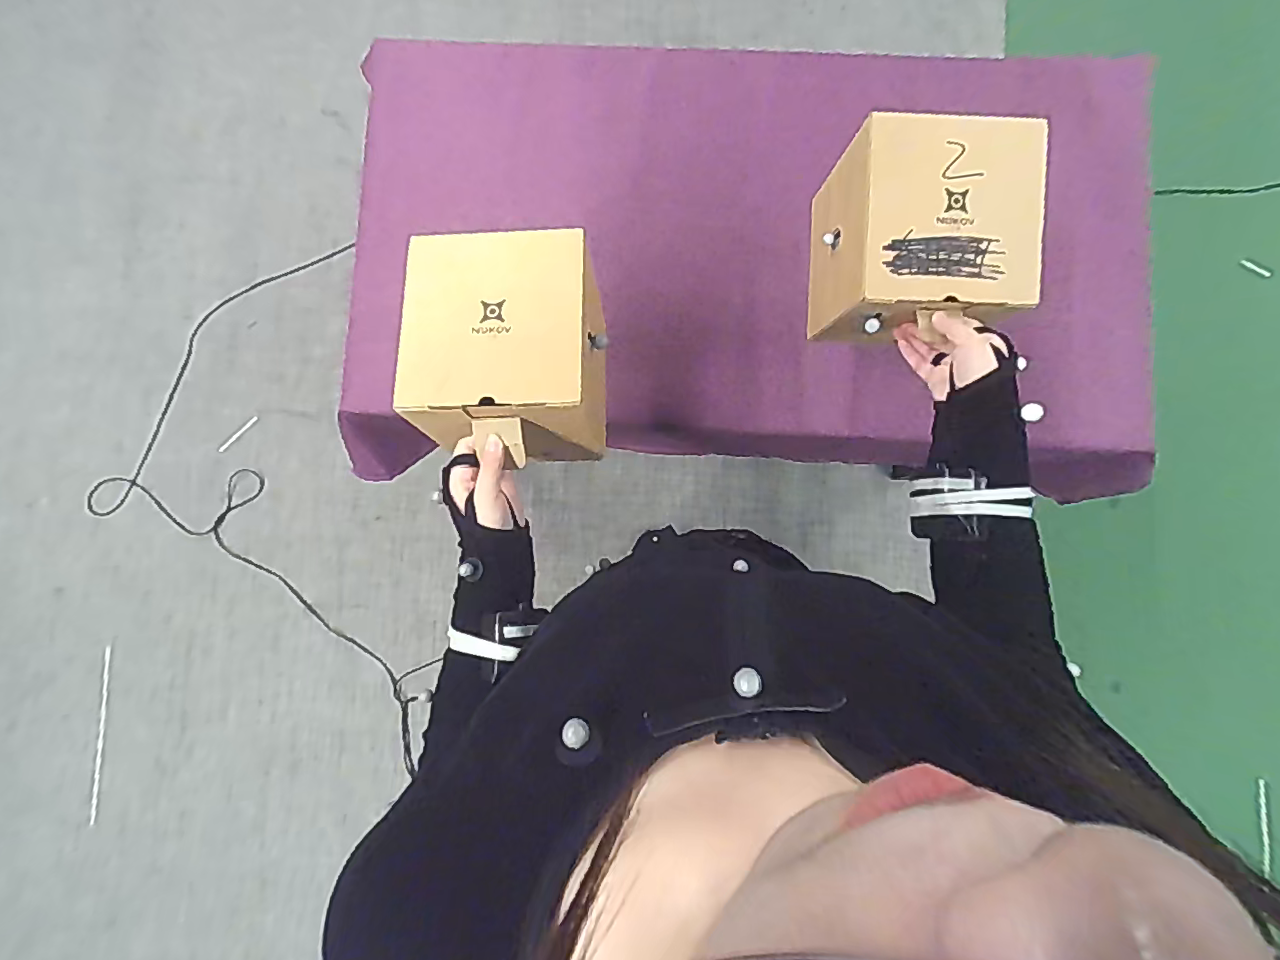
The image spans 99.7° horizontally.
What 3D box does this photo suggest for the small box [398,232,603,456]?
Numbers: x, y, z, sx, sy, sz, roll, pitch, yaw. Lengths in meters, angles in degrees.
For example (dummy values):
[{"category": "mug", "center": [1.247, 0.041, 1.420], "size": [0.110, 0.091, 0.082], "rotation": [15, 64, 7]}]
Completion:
[{"category": "small box", "center": [-0.131, -0.133, 0.575], "size": [0.168, 0.176, 0.179], "rotation": [-1, 77, 3]}]
